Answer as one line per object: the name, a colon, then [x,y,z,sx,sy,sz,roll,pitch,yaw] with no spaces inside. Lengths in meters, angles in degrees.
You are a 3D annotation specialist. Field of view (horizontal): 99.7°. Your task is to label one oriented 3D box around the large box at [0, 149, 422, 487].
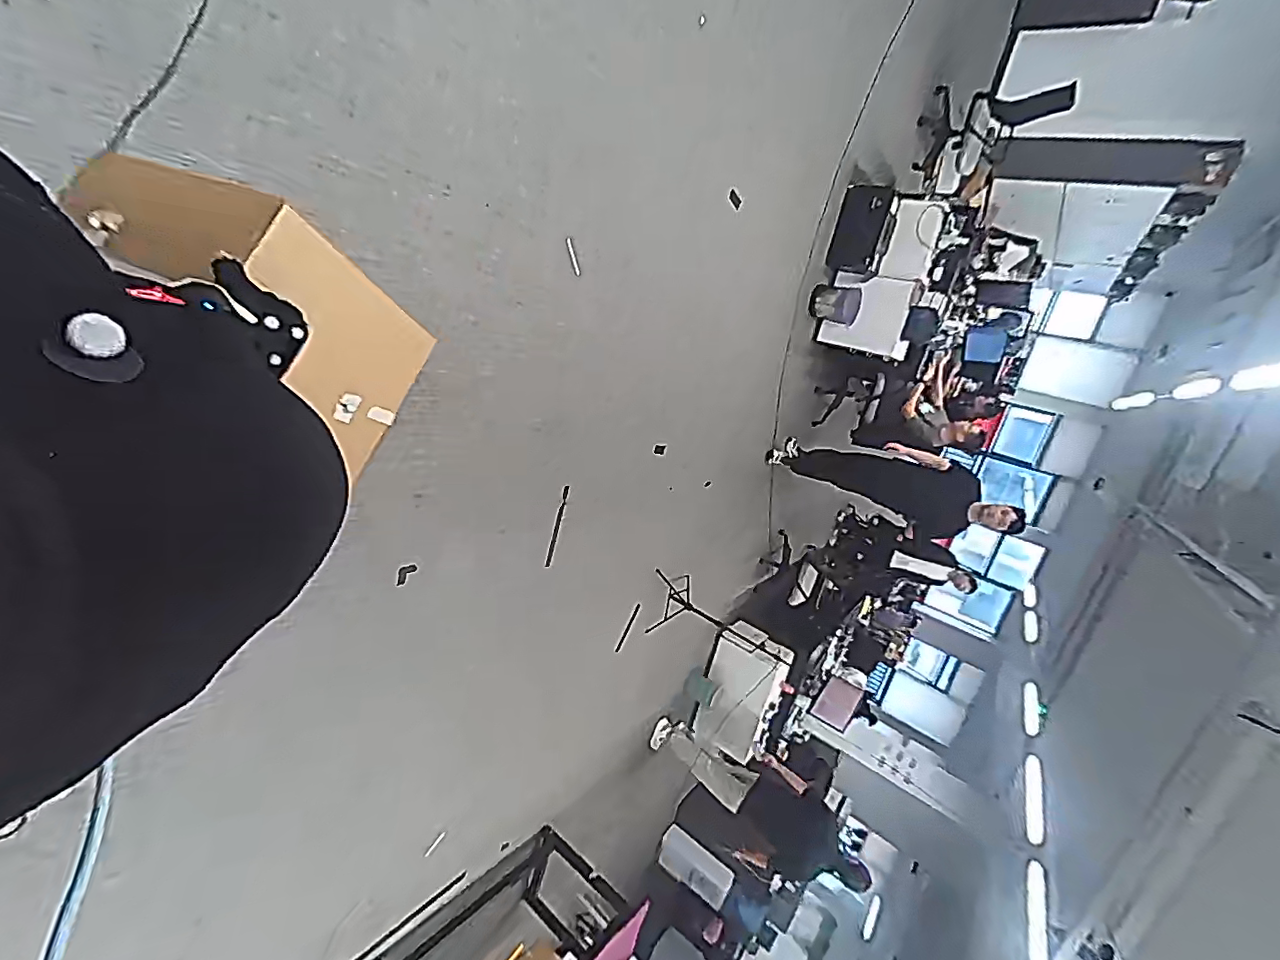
large box: [-0.631,-0.226,0.816,0.320,0.408,0.320,-64,160,-10]
